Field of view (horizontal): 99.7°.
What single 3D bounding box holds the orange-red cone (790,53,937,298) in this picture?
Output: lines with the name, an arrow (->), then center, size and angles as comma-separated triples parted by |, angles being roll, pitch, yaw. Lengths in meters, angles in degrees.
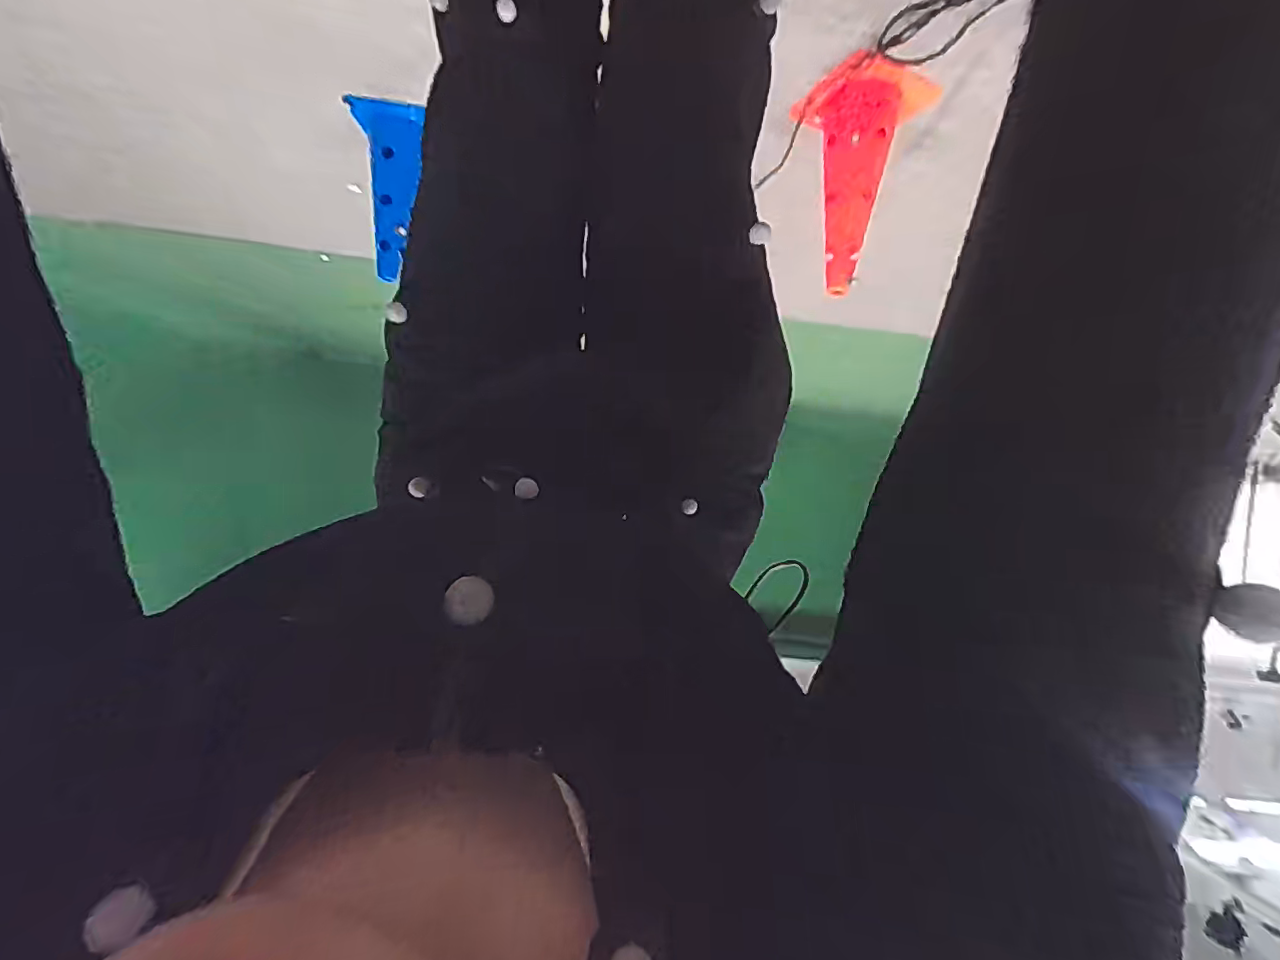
orange-red cone -> 0.385, -0.520, 0.994 | 0.199, 0.360, 0.198 | 5, -177, -23

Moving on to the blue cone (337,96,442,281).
blue cone -> -0.596, -0.662, 1.270 | 0.192, 0.380, 0.193 | 7, -179, -4
